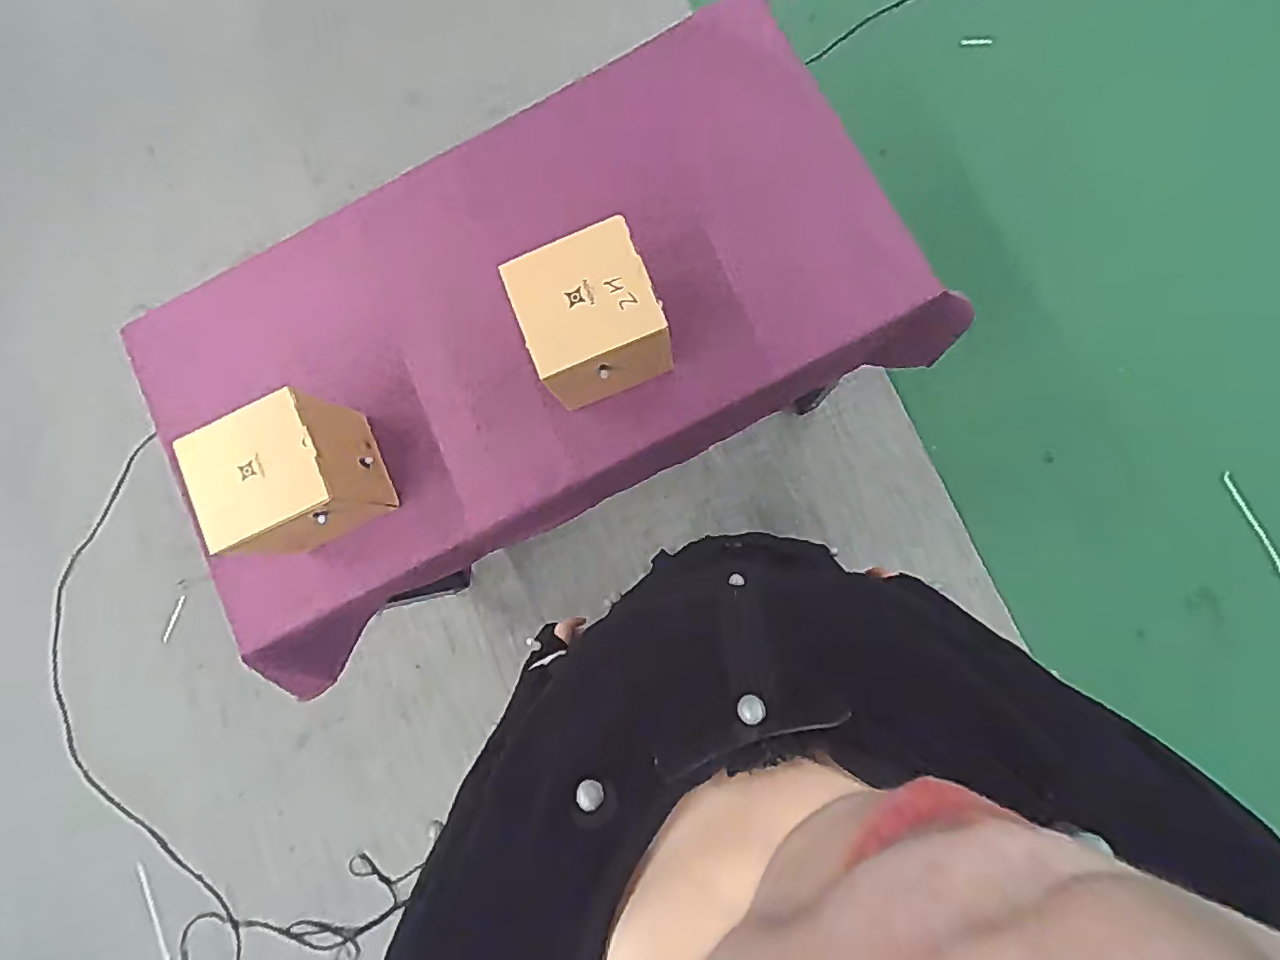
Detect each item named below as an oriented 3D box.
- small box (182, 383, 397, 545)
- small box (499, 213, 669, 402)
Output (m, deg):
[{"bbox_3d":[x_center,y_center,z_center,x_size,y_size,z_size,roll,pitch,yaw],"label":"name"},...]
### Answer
[{"bbox_3d":[-0.494,-0.011,0.784,0.179,0.176,0.168,-25,81,2],"label":"small box"},{"bbox_3d":[-0.068,-0.227,0.762,0.179,0.176,0.168,-21,82,3],"label":"small box"}]
